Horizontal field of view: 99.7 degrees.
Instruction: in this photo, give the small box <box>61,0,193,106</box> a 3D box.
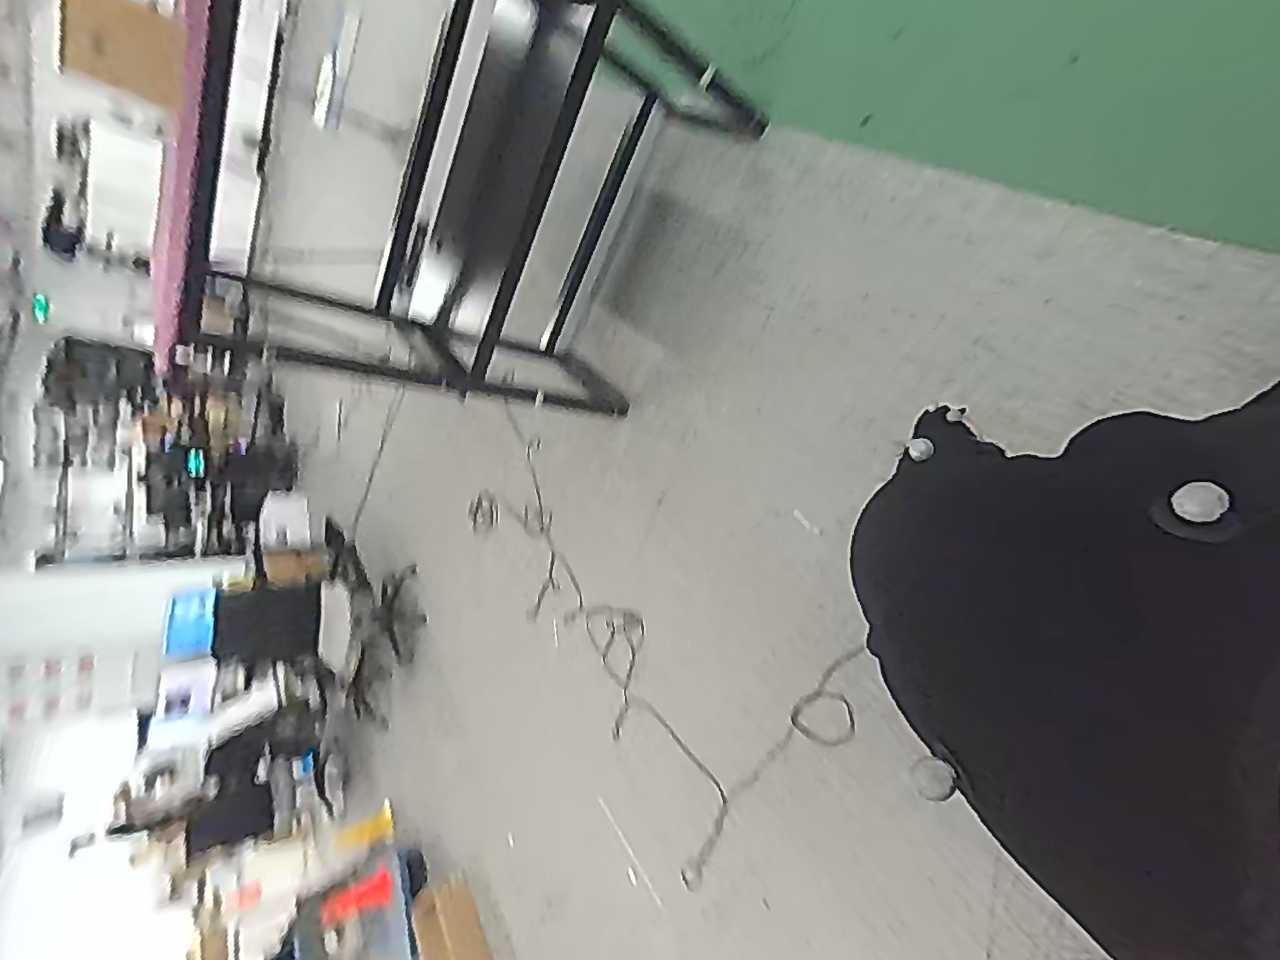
[{"bbox_3d":[-0.969,-0.856,1.028,0.168,0.176,0.179,47,119,36],"label":"small box"}]
